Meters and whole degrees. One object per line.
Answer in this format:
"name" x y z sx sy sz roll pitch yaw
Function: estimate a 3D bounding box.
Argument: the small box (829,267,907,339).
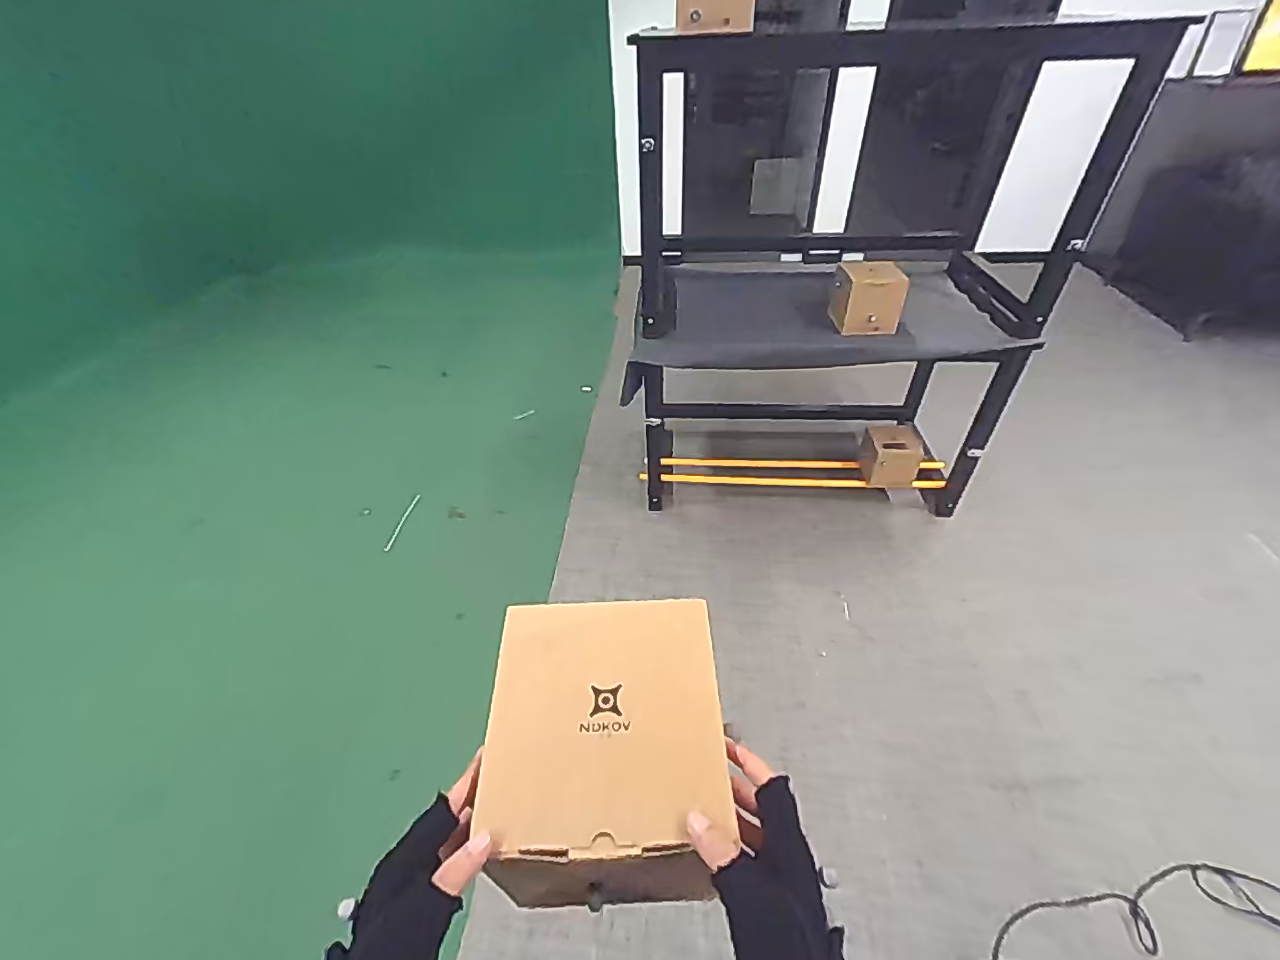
"small box" 0.704 -0.557 1.694 0.168 0.176 0.179 -1 40 2

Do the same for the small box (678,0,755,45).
"small box" 0.176 -1.128 1.260 0.168 0.176 0.179 -2 39 0
